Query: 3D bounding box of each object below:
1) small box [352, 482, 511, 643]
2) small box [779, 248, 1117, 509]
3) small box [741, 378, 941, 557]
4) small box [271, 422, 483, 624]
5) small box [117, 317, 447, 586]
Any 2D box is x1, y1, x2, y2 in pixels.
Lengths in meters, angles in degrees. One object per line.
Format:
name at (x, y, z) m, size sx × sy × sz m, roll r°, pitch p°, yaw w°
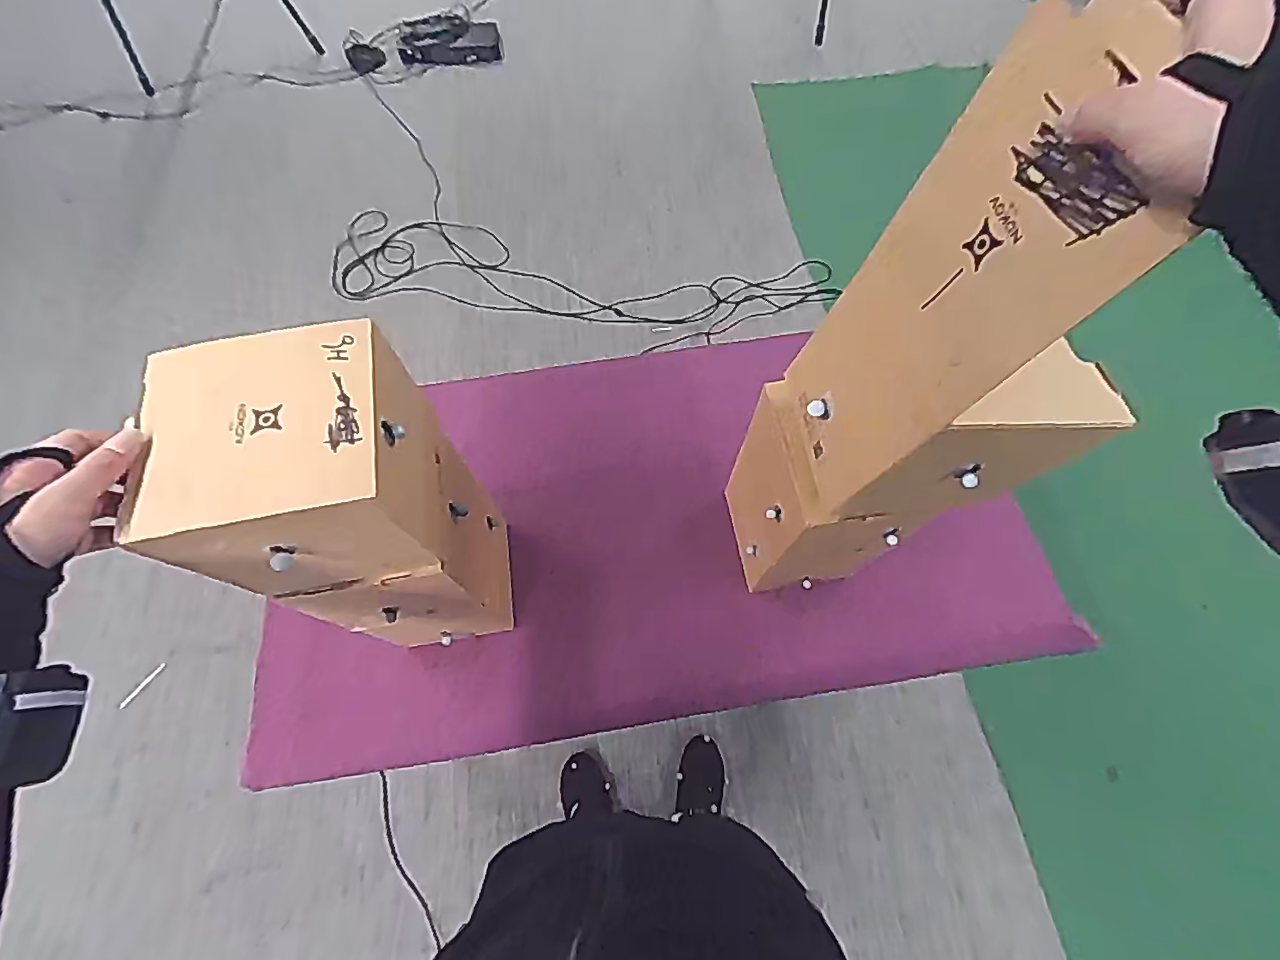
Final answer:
small box at (-0.289, 0.124, 0.779) m, size 0.168 × 0.176 × 0.179 m, roll -9°, pitch 66°, yaw -3°
small box at (0.254, -0.081, 0.493) m, size 0.179 × 0.176 × 0.168 m, roll -3°, pitch 64°, yaw -12°
small box at (0.229, -0.014, 0.655) m, size 0.168 × 0.176 × 0.179 m, roll -9°, pitch 65°, yaw -3°
small box at (-0.290, 0.055, 0.632) m, size 0.168 × 0.176 × 0.179 m, roll -10°, pitch 66°, yaw -4°
small box at (-0.291, -0.014, 0.484) m, size 0.179 × 0.176 × 0.168 m, roll -11°, pitch 67°, yaw -4°
